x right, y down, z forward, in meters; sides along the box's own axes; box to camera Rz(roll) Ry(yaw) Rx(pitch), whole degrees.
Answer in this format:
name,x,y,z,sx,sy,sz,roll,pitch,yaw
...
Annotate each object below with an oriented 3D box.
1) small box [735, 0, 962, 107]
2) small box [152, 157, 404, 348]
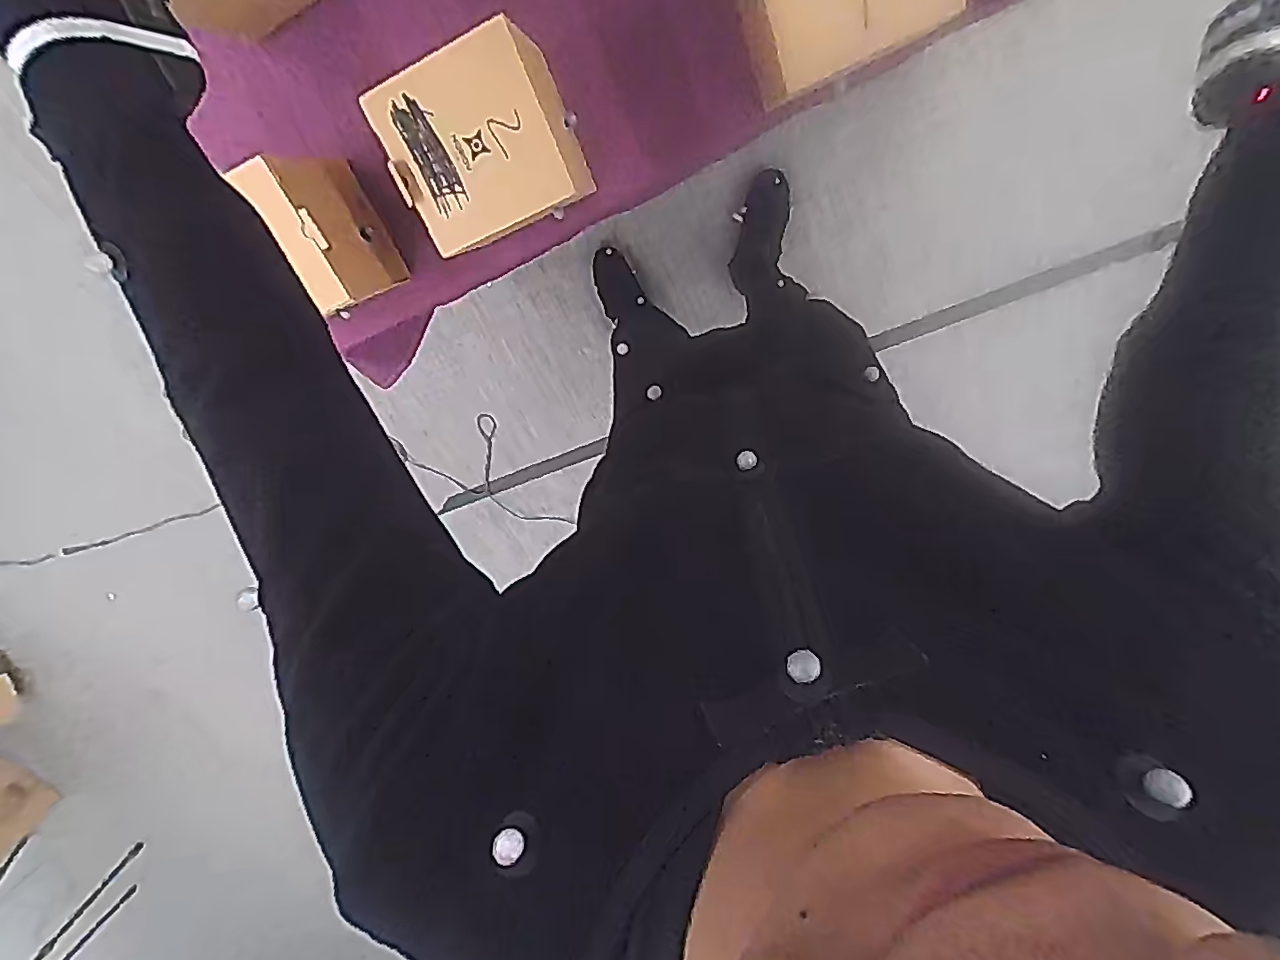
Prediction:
name,x,y,z,sx,sy,sz,roll,pitch,yaw
small box,0.188,-0.507,0.537,0.168,0.176,0.179,-18,117,15
small box,-0.451,-0.296,0.708,0.179,0.176,0.168,-19,116,13
